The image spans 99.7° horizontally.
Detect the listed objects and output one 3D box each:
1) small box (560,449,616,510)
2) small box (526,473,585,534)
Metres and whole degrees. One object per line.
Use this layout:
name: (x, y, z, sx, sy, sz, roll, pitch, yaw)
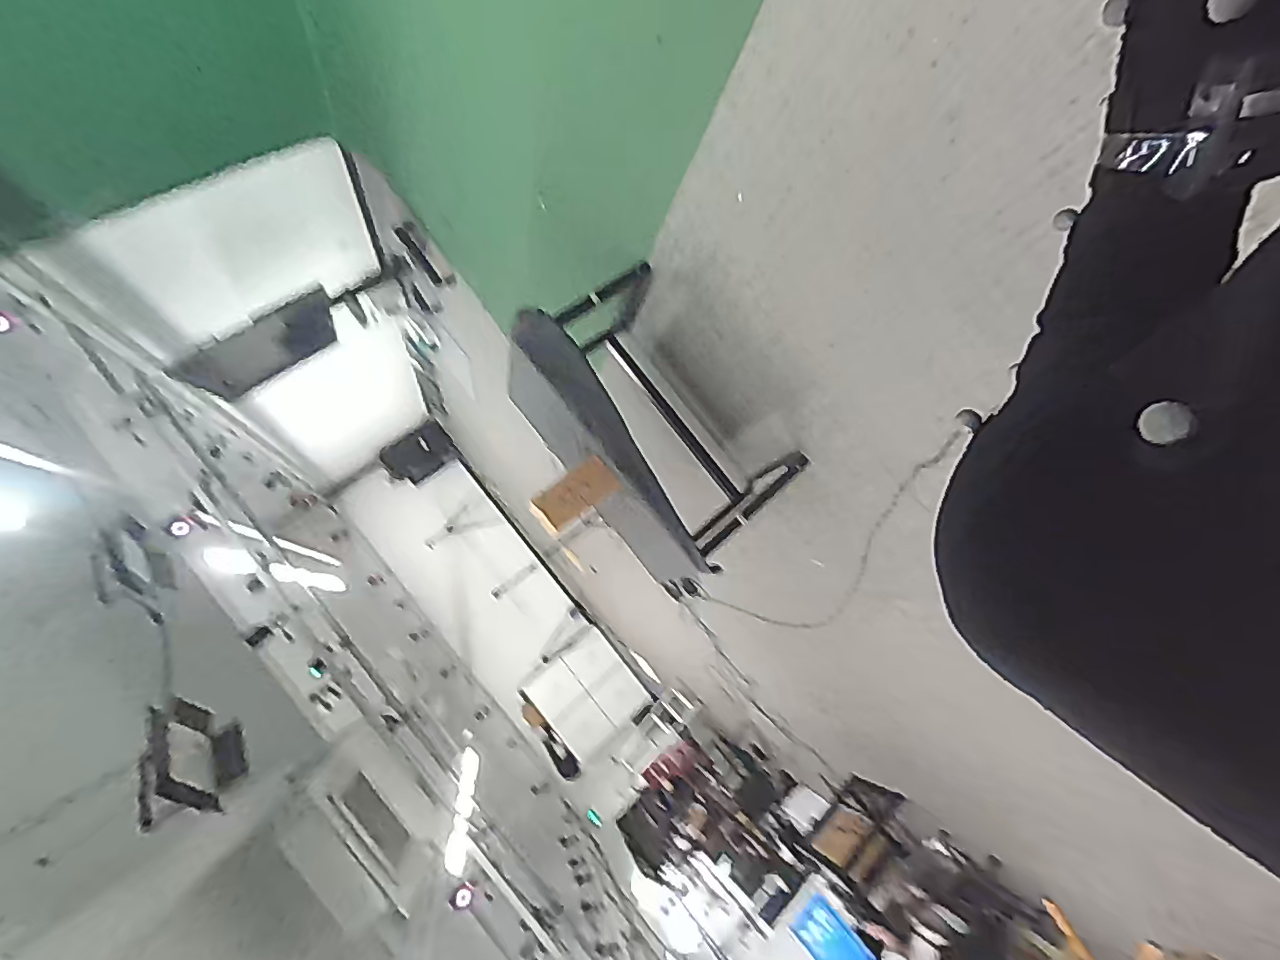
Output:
small box: (-0.223, -0.001, 2.259, 0.179, 0.176, 0.168, 52, 159, 1)
small box: (-0.344, 0.095, 2.206, 0.168, 0.176, 0.179, 50, 159, 2)
